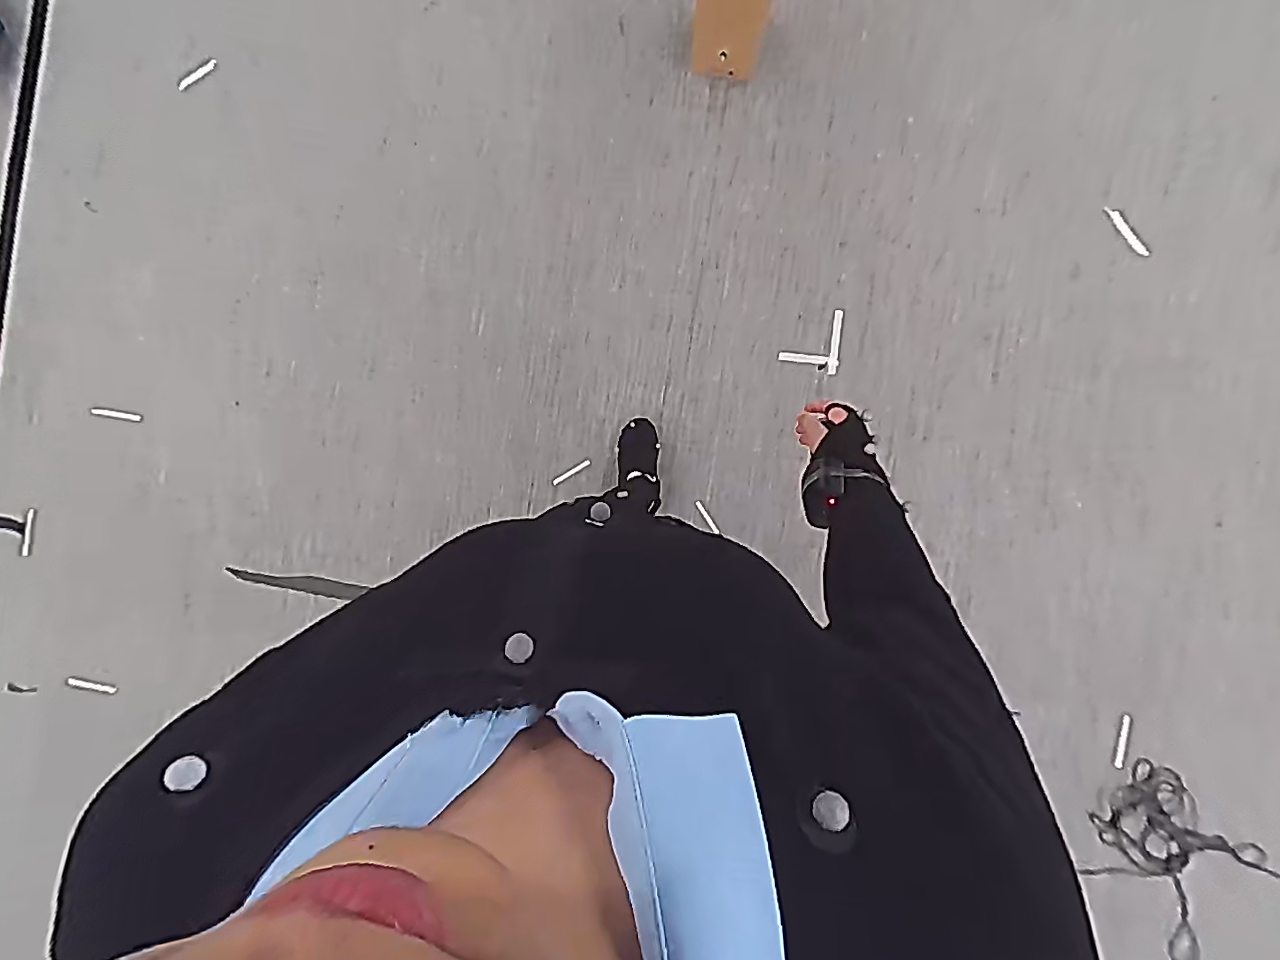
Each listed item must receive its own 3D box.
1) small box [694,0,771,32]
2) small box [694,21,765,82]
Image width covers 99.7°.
[{"bbox_3d":[0.217,-1.163,1.226,0.179,0.176,0.168,3,91,5],"label":"small box"},{"bbox_3d":[0.234,-1.172,1.387,0.168,0.176,0.179,12,91,3],"label":"small box"}]
